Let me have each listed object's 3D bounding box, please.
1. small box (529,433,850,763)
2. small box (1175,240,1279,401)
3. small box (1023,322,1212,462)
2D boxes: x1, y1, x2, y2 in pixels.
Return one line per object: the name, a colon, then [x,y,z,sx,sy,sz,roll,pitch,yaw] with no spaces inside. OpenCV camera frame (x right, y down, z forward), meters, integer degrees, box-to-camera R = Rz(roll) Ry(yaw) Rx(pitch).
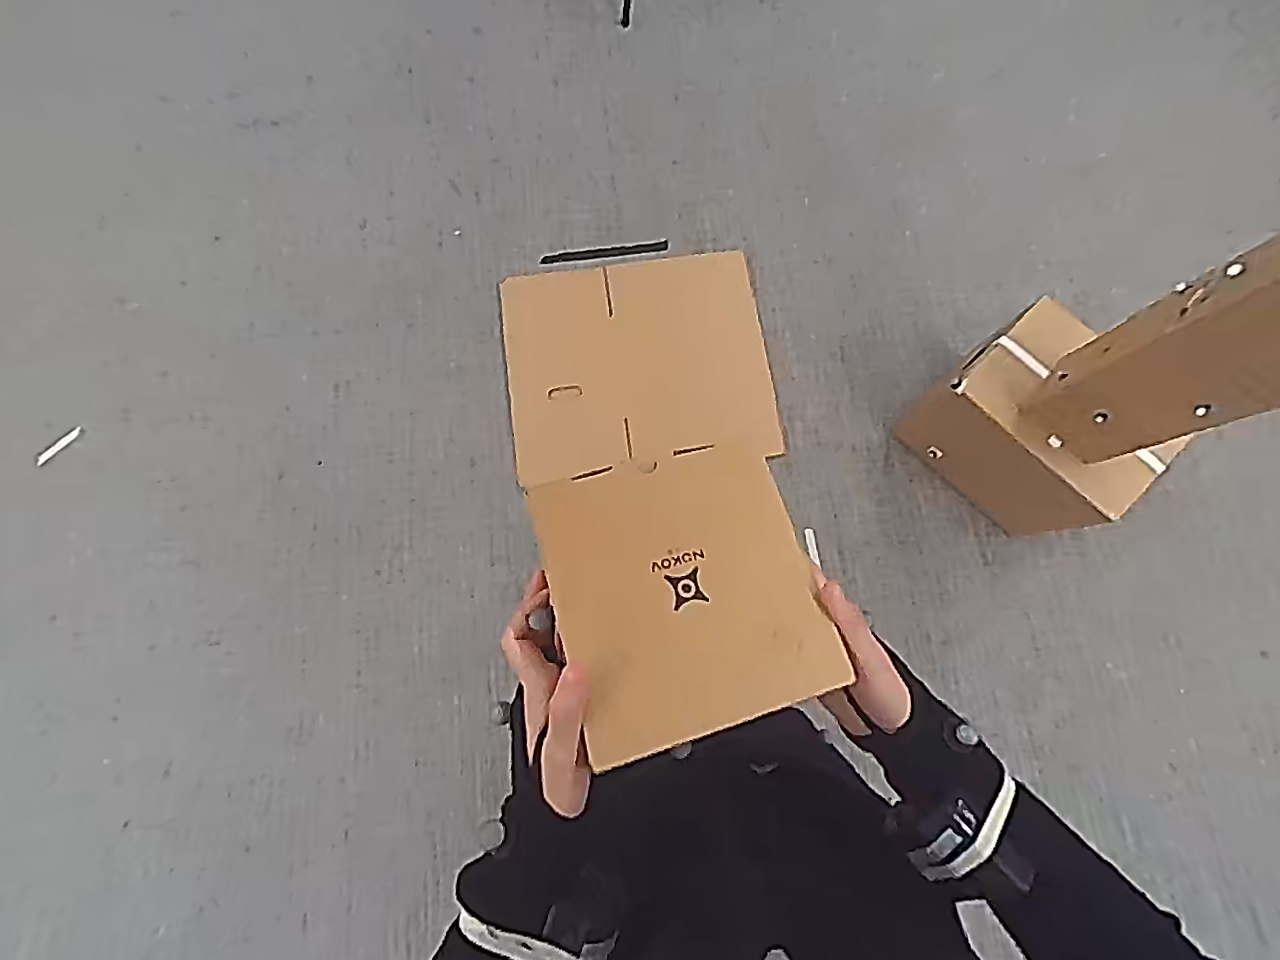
small box: [0.021,0.092,0.413,0.168,0.176,0.179,-14,68,-12]
small box: [0.889,-0.225,0.708,0.179,0.176,0.168,43,81,8]
small box: [0.892,-0.156,1.030,0.179,0.176,0.168,43,82,8]
